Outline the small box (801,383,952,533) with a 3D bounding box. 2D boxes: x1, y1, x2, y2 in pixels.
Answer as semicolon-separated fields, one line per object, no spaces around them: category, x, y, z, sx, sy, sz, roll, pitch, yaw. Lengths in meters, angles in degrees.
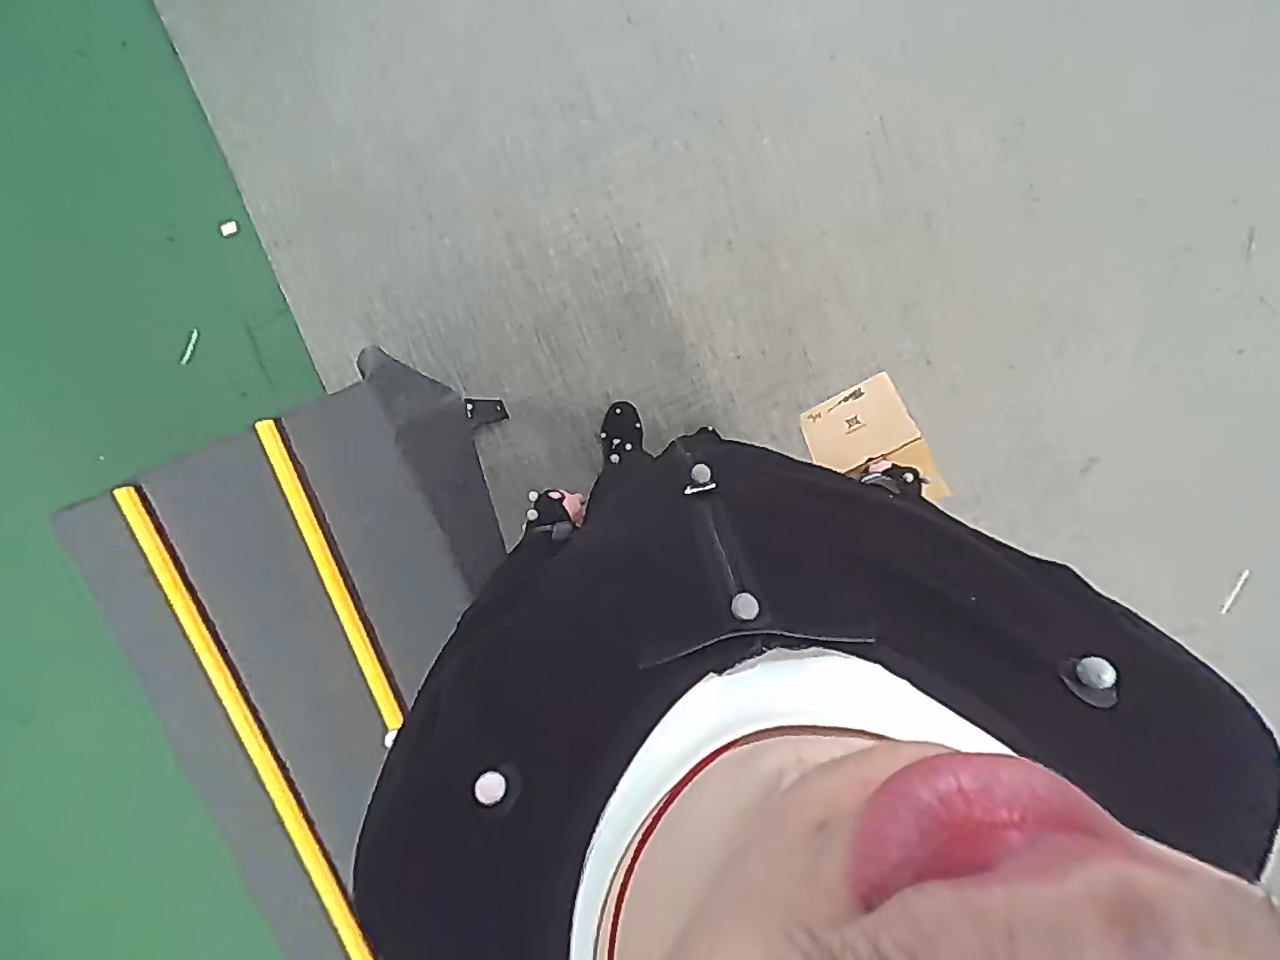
small box;0.414;-0.029;0.951;0.168;0.179;0.176;-31;127;25
